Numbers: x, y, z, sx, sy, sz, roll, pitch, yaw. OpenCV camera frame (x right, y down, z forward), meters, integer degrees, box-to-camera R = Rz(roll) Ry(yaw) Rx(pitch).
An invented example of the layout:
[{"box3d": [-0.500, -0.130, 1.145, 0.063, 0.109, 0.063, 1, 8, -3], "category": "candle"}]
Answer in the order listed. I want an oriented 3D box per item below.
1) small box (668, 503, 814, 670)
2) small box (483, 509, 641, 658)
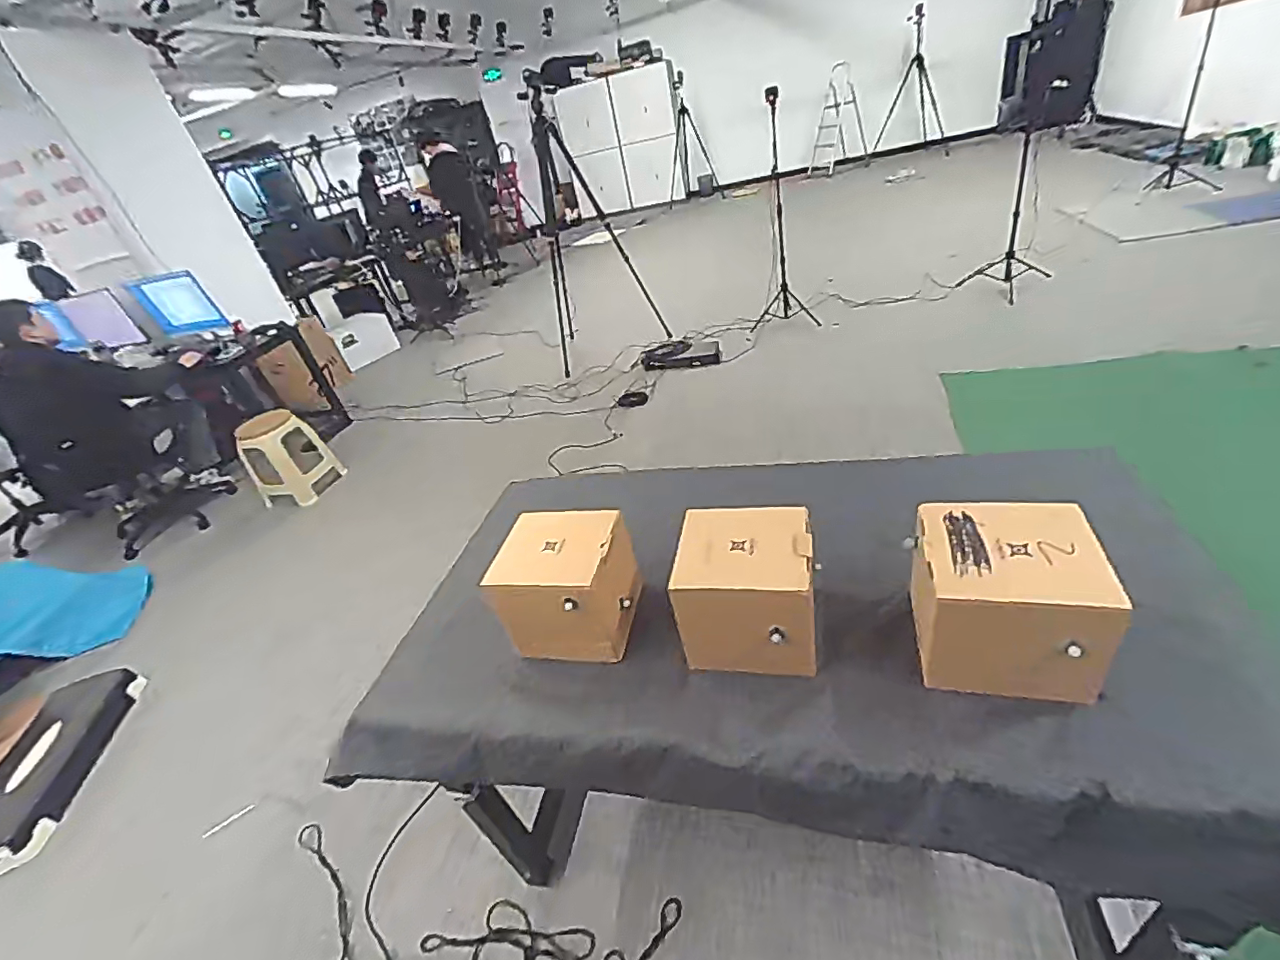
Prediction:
[{"box3d": [0.154, 0.152, 0.770, 0.179, 0.176, 0.168, -4, 34, 19], "category": "small box"}, {"box3d": [-0.112, 0.163, 0.861, 0.179, 0.176, 0.168, -3, 35, 17], "category": "small box"}]
